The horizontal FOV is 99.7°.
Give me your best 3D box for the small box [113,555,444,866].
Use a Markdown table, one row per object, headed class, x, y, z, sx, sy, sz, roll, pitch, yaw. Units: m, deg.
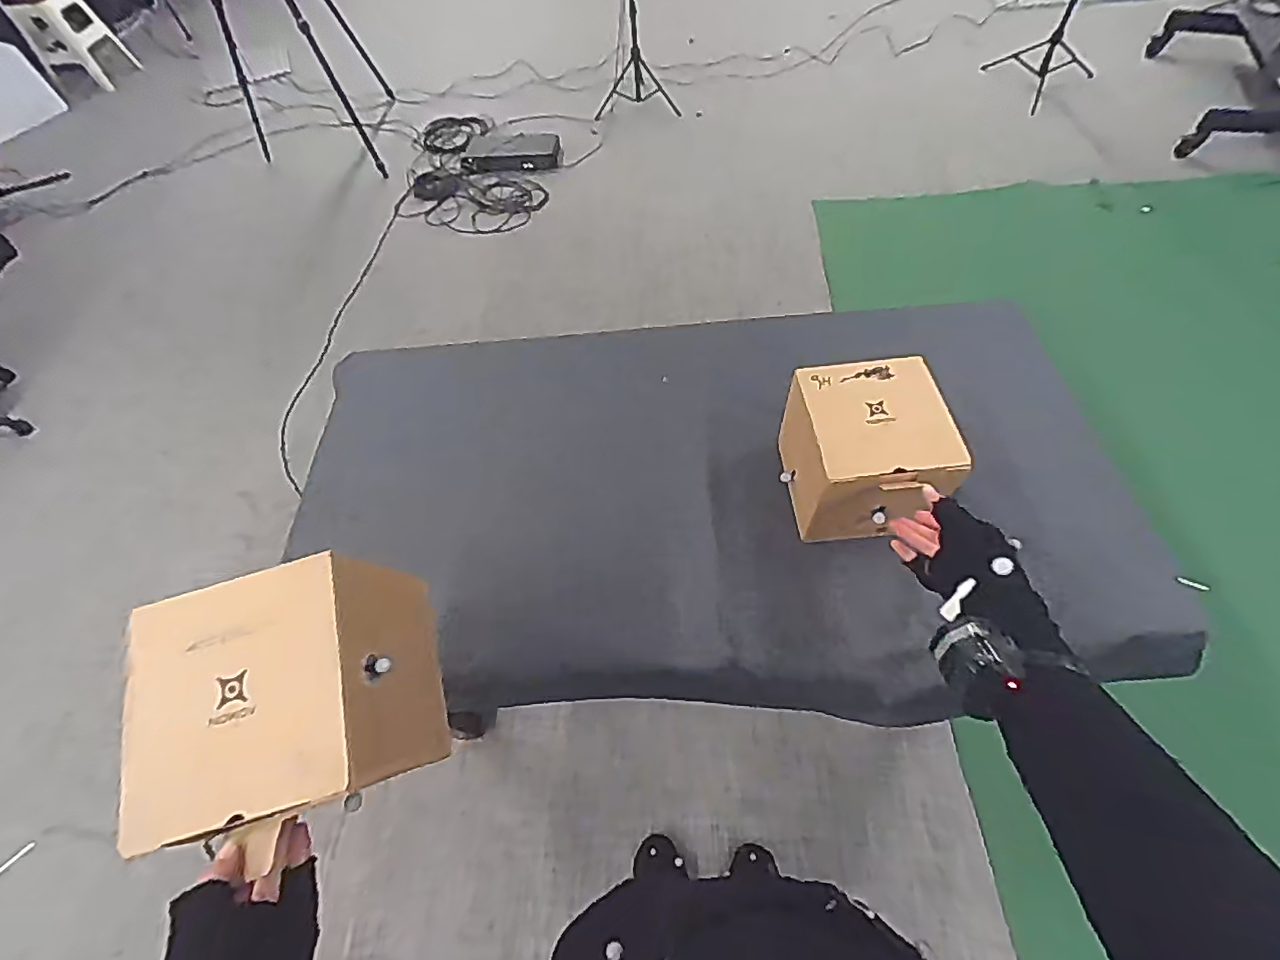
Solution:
| class | x | y | z | sx | sy | sz | roll | pitch | yaw |
| --- | --- | --- | --- | --- | --- | --- | --- | --- | --- |
| small box | -0.287 | 0.183 | 0.463 | 0.168 | 0.176 | 0.179 | -17 | 69 | -1 |
